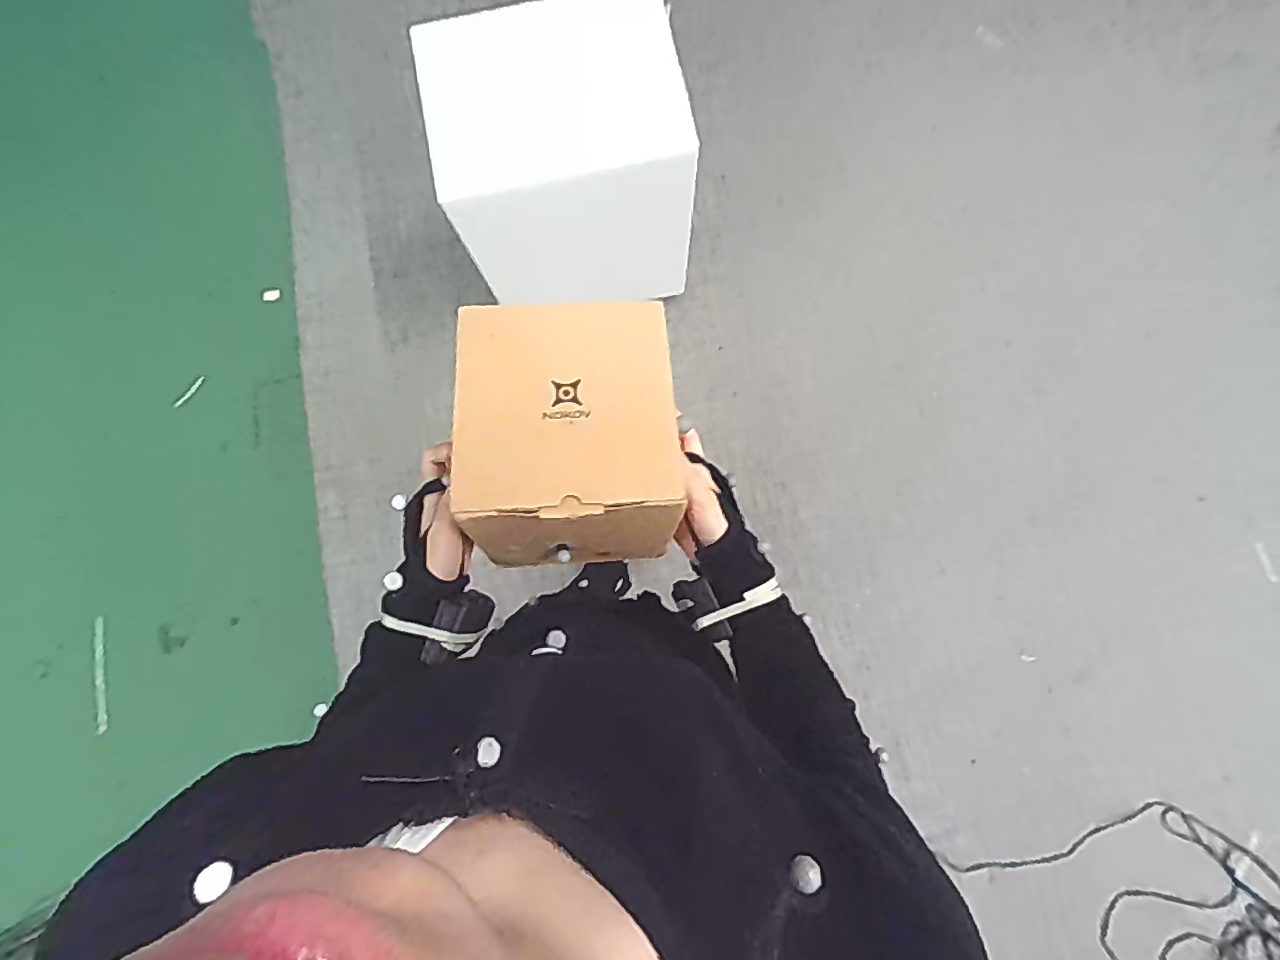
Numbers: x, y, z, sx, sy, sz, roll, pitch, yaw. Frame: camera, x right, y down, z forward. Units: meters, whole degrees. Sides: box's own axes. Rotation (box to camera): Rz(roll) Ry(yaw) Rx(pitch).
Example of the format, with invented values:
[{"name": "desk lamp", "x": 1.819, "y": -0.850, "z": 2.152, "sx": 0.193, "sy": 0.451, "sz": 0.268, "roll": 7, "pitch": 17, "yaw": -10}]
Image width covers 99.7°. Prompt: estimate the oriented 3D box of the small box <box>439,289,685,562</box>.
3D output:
[{"name": "small box", "x": -0.062, "y": -0.038, "z": 0.463, "sx": 0.168, "sy": 0.176, "sz": 0.179, "roll": -4, "pitch": 69, "yaw": -5}]
